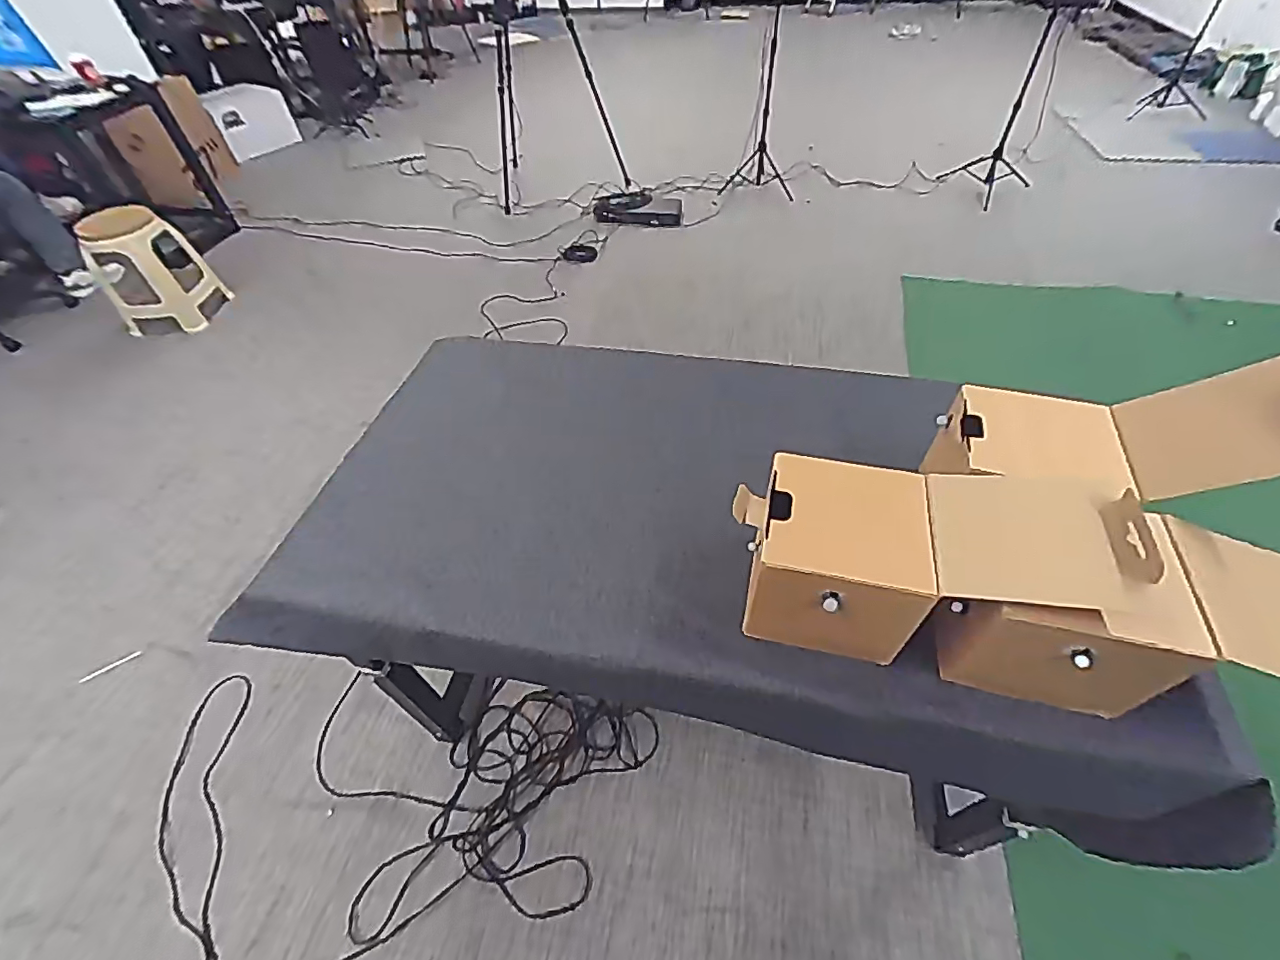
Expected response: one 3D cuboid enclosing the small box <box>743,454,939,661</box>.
[{"bbox_3d":[0.228,0.096,0.644,0.179,0.176,0.168,10,50,12],"label":"small box"}]
